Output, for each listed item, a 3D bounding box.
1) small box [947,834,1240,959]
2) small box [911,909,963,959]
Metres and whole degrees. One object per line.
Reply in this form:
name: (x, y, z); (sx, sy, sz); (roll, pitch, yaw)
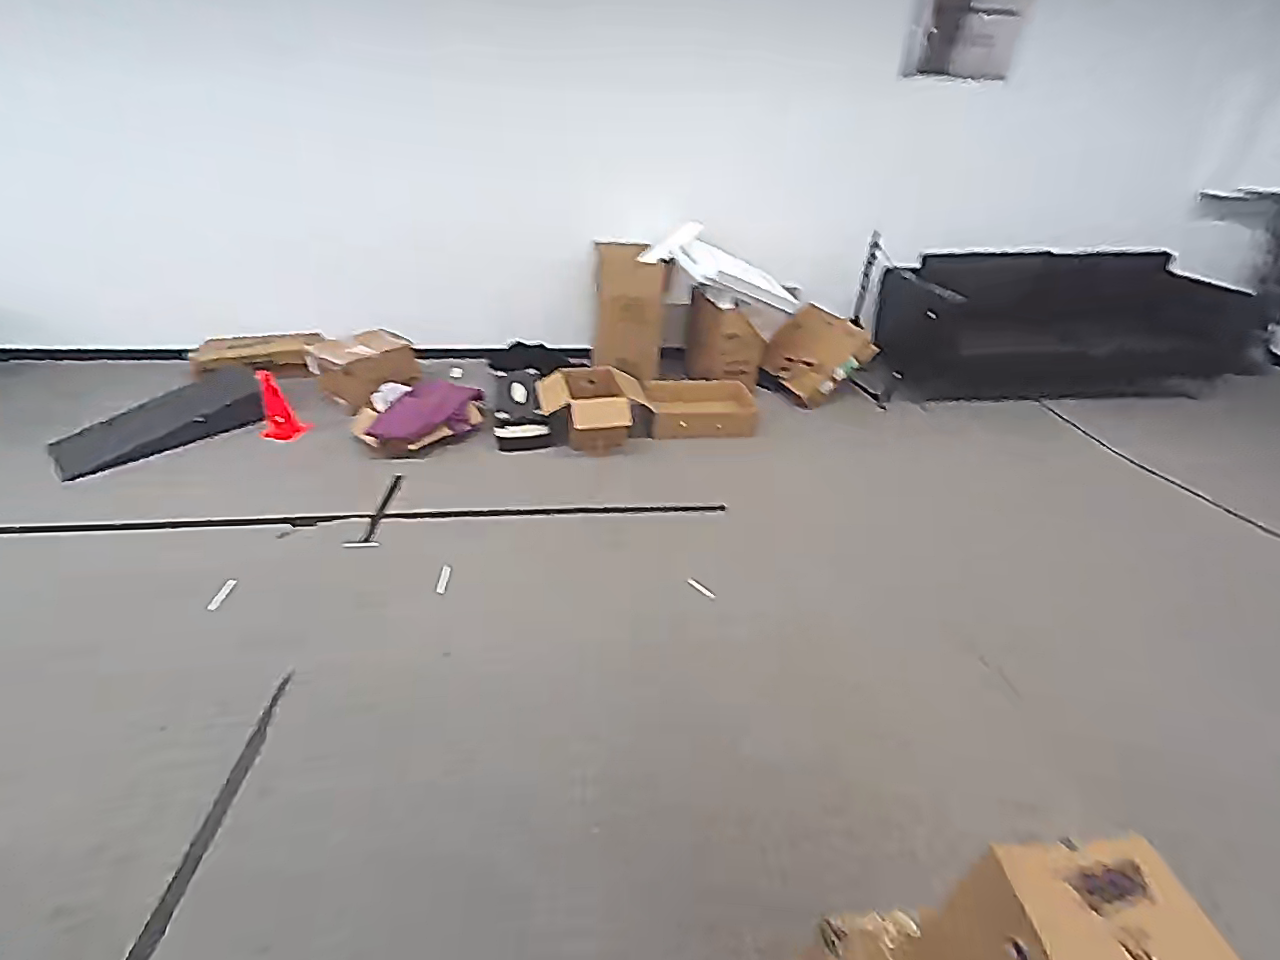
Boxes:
small box: (0.436, 0.477, 0.520); (0.168, 0.176, 0.179); (-2, 34, -3)
small box: (0.437, 0.612, 0.613); (0.179, 0.176, 0.168); (-3, 33, -3)
